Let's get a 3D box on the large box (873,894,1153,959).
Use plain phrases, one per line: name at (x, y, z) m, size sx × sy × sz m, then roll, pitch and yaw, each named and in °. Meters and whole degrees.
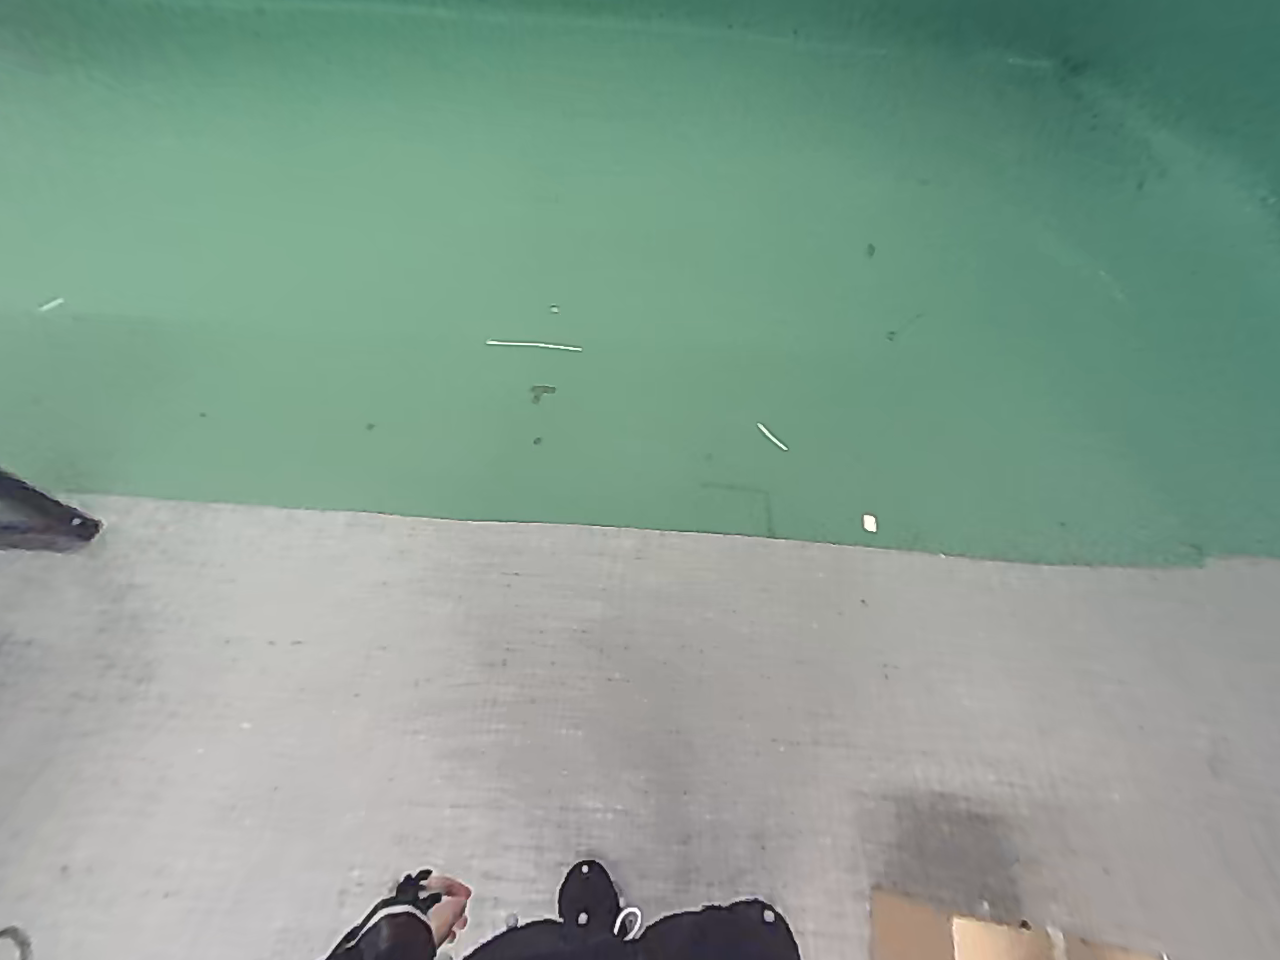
large box at (0.579, 0.924, 0.826) m, size 0.320 × 0.320 × 0.408 m, roll 9°, pitch 60°, yaw 4°
